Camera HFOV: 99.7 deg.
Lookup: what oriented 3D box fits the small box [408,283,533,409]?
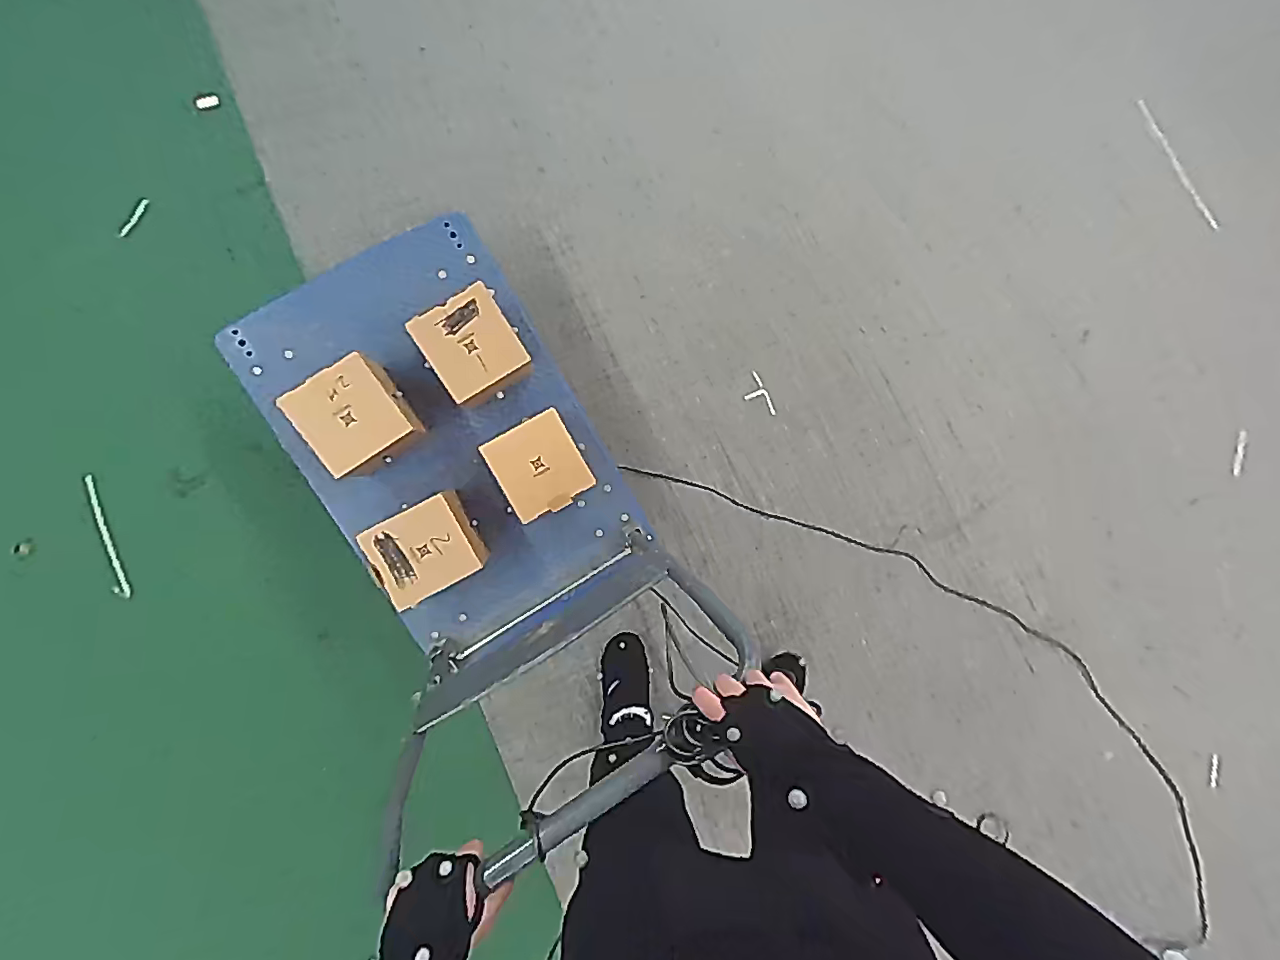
[{"bbox_3d":[-0.333,-0.260,1.096,0.168,0.176,0.179,-34,98,-6],"label":"small box"}]

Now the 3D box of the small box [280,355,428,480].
[{"bbox_3d":[-0.546,-0.118,1.063,0.168,0.176,0.179,-35,97,-8],"label":"small box"}]

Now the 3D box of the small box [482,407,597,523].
[{"bbox_3d":[-0.209,-0.030,1.126,0.168,0.176,0.179,-30,97,-8],"label":"small box"}]
